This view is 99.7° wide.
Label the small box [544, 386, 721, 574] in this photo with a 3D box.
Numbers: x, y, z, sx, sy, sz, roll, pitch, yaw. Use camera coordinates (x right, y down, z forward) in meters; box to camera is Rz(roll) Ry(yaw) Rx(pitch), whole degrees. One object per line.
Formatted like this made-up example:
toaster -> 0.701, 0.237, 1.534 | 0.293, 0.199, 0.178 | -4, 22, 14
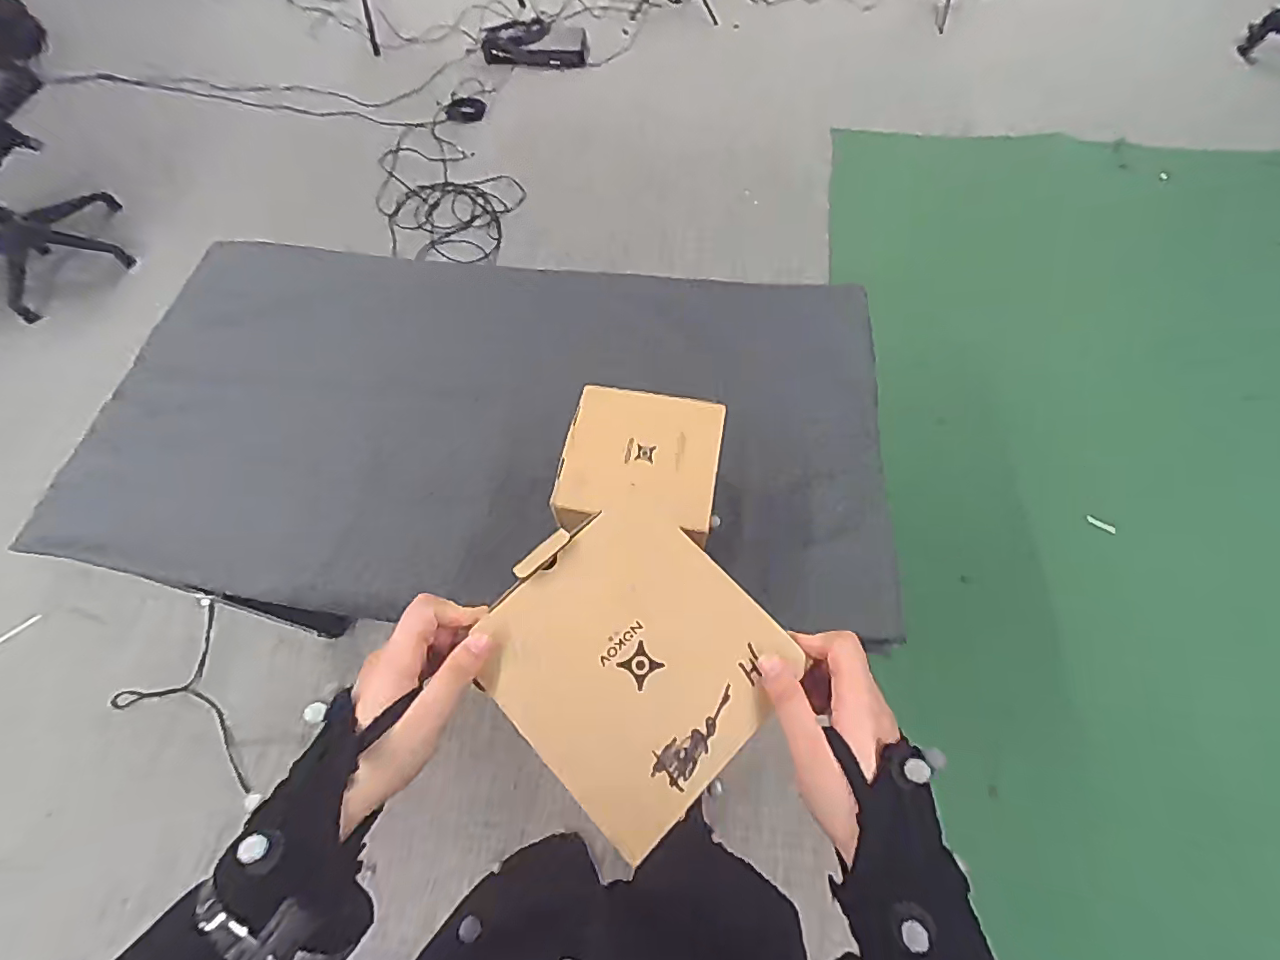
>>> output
small box -> -0.004, 0.007, 0.679 | 0.179, 0.176, 0.168 | 9, 64, 5
